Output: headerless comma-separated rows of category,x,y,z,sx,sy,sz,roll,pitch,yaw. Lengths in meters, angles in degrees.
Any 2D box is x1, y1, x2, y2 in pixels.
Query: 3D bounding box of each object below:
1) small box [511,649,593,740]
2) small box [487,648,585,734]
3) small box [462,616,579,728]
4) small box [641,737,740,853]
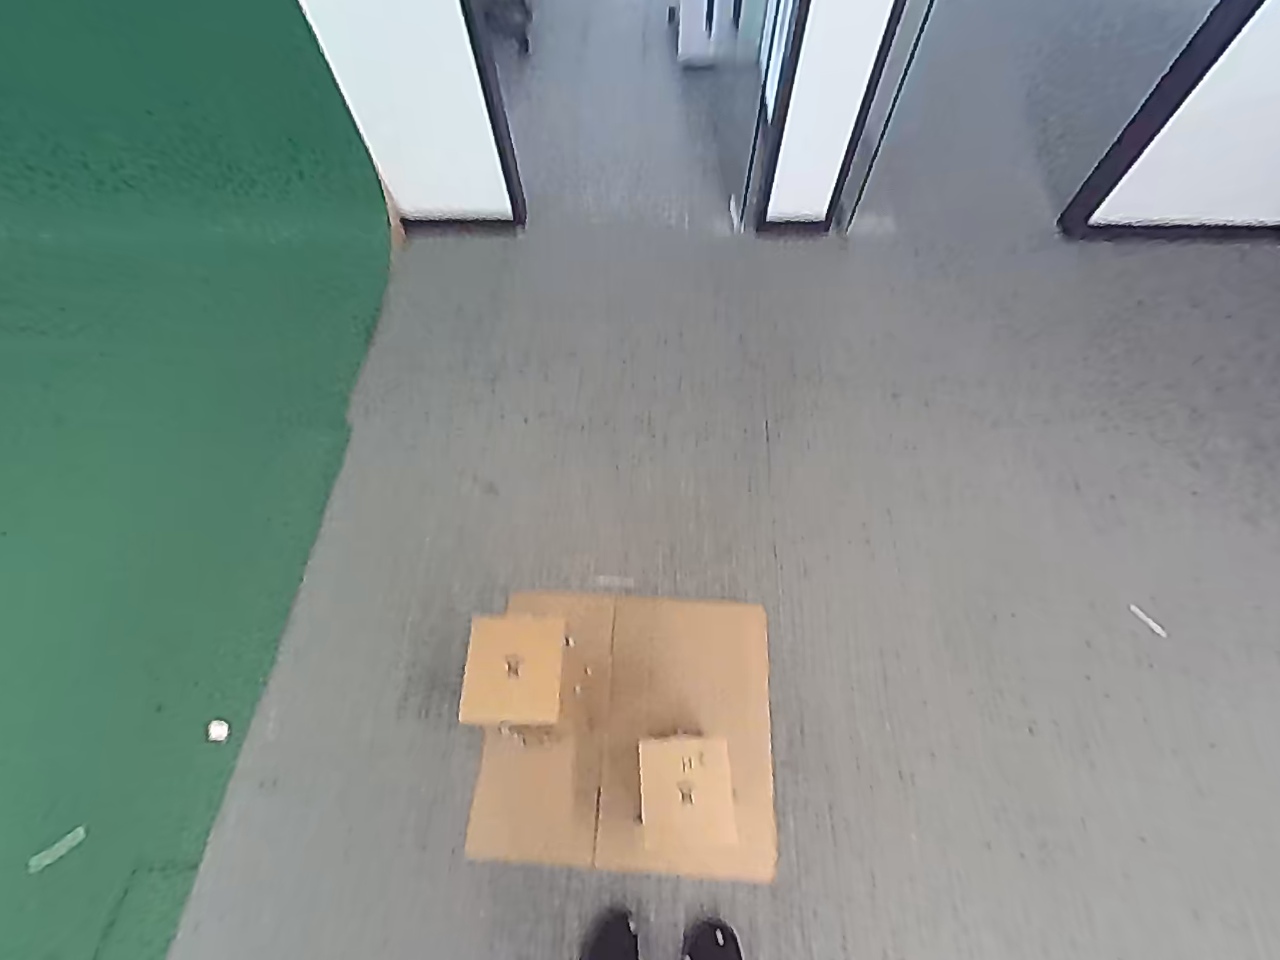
small box,-0.203,0.508,1.274,0.168,0.176,0.179,-4,63,0
small box,-0.207,0.432,1.130,0.168,0.176,0.179,-1,61,1
small box,-0.207,0.355,0.987,0.168,0.176,0.179,-1,62,2
small box,0.090,0.590,1.031,0.168,0.176,0.179,-3,62,-1
